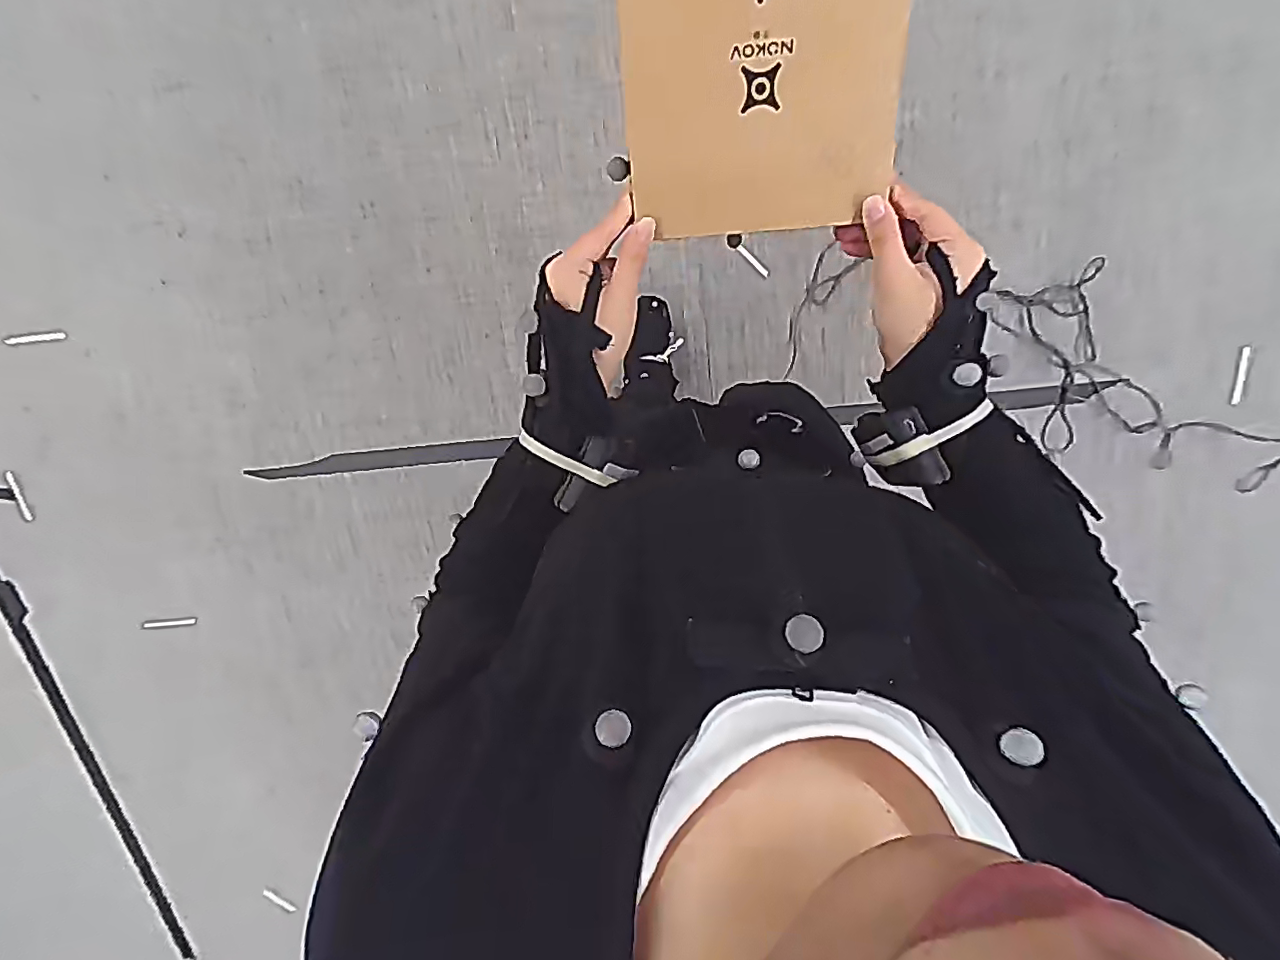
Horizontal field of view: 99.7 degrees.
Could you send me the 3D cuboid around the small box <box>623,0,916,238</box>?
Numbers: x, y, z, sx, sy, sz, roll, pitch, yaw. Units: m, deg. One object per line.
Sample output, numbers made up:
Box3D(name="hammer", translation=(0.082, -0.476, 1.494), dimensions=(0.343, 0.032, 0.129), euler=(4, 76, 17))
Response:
Box3D(name="small box", translation=(0.077, -0.280, 0.388), dimensions=(0.168, 0.176, 0.179), euler=(-3, 117, 3))
